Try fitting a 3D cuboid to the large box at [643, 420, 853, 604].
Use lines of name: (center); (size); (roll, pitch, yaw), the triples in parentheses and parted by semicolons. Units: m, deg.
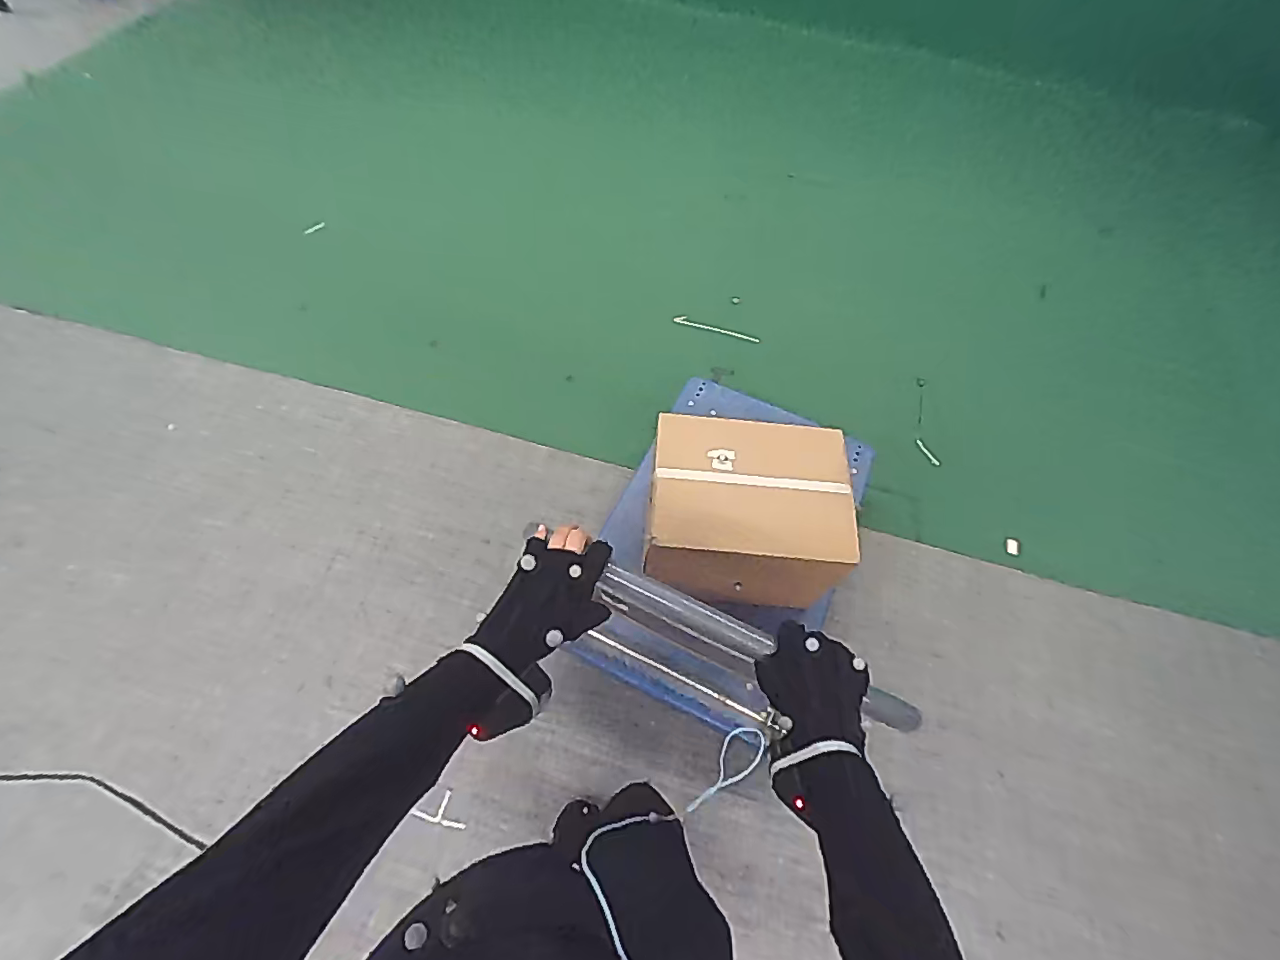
large box: (0.220, 0.085, 1.242); (0.408, 0.320, 0.320); (5, 60, 0)
